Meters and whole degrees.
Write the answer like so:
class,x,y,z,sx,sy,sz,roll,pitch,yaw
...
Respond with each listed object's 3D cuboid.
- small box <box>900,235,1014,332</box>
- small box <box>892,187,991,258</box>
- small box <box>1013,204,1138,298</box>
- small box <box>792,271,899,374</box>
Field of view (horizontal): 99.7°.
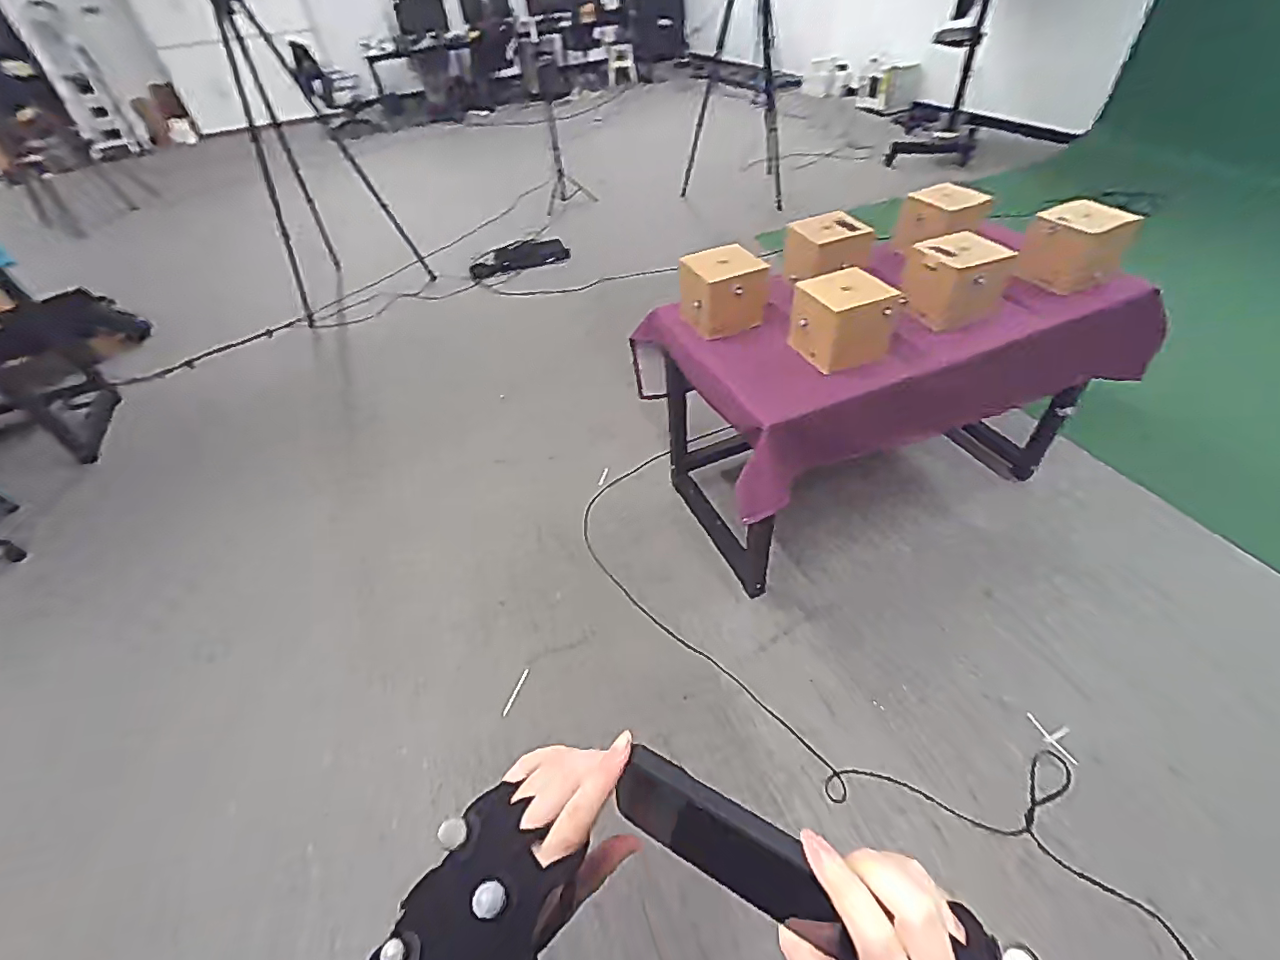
class,x,y,z,sx,sy,sz,roll,pitch,yaw
small box,0.799,-0.503,1.391,0.179,0.176,0.168,-17,46,-11
small box,0.898,-0.759,1.631,0.168,0.176,0.179,-22,48,-14
small box,1.165,-0.619,1.463,0.179,0.176,0.168,-20,46,-14
small box,0.482,-0.376,1.303,0.179,0.176,0.168,-18,46,-13
